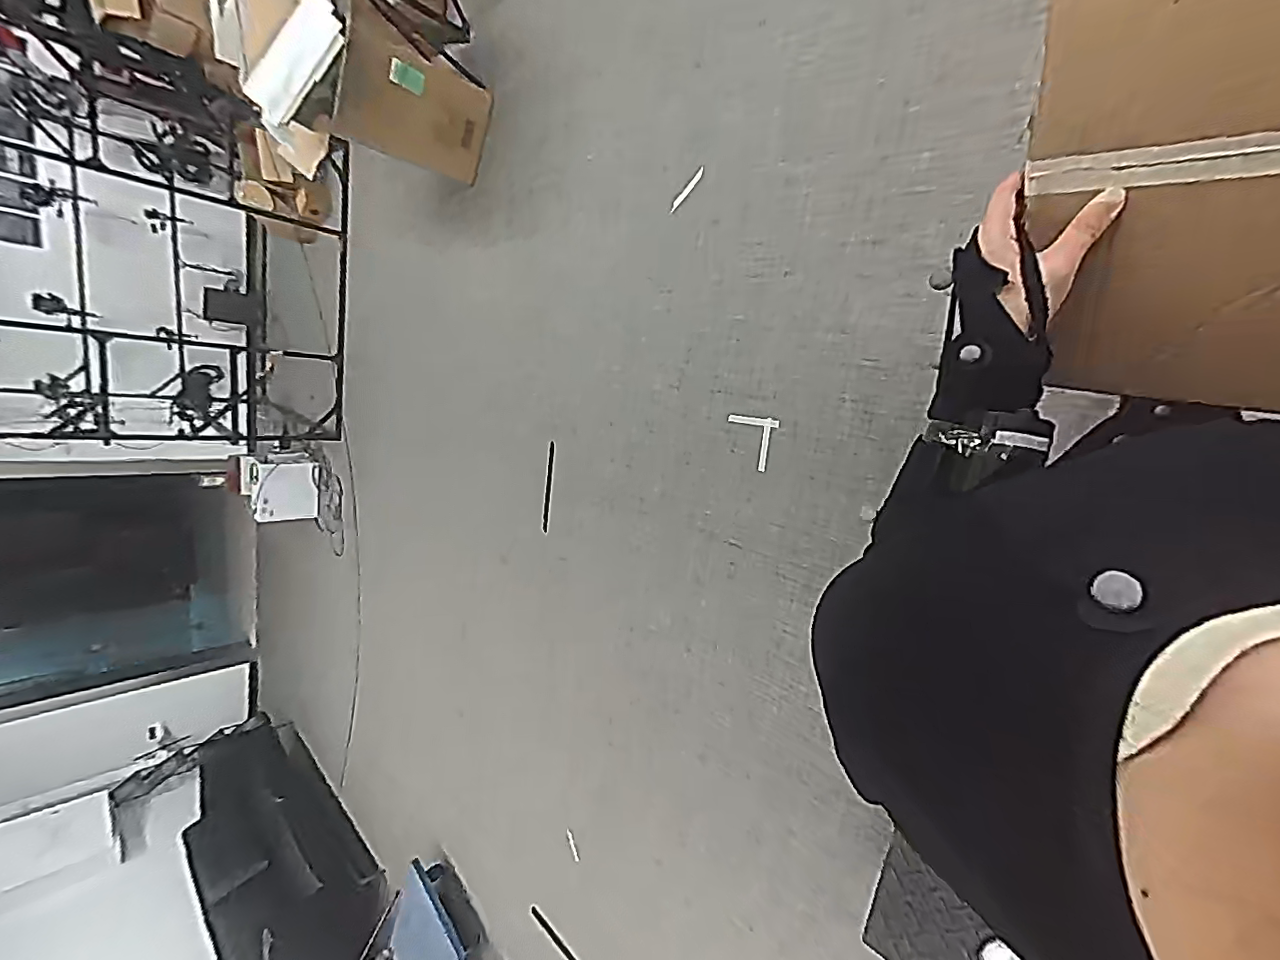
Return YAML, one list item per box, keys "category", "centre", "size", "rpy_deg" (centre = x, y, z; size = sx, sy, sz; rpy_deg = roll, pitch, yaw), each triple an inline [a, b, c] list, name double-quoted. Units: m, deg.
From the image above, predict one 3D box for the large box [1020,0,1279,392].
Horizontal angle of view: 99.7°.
- category: "large box"
  centre: [0.505, -0.250, 0.303]
  size: [0.408, 0.320, 0.320]
  rpy_deg: [19, 140, 43]
